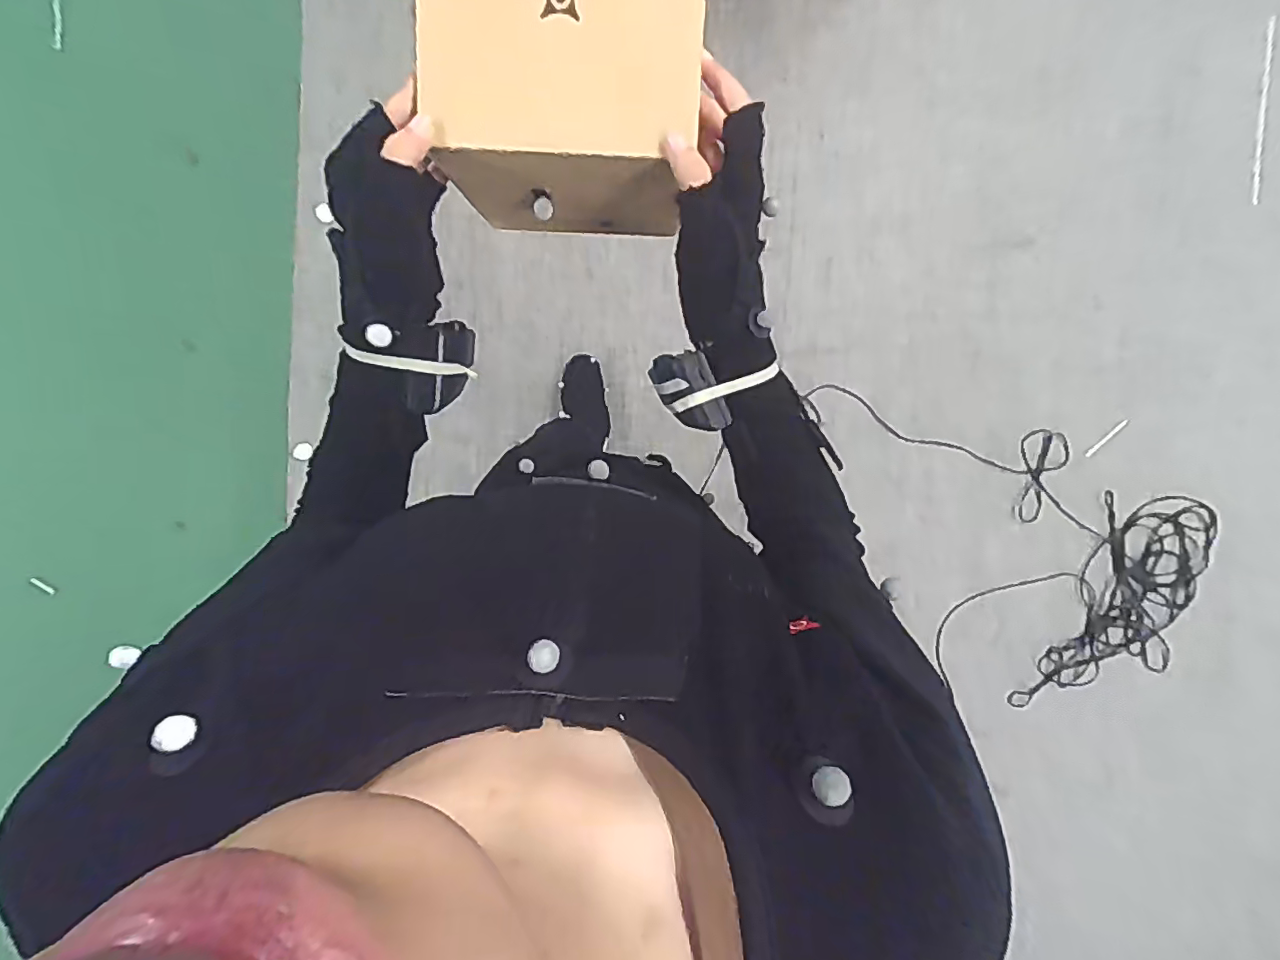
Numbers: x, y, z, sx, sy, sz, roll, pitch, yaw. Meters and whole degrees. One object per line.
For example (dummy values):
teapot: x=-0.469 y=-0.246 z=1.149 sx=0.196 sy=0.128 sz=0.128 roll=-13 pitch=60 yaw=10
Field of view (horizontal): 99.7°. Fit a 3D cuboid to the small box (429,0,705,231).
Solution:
small box: x=-0.042 y=-0.295 z=0.396 sx=0.168 sy=0.176 sz=0.179 roll=1 pitch=99 yaw=-1
